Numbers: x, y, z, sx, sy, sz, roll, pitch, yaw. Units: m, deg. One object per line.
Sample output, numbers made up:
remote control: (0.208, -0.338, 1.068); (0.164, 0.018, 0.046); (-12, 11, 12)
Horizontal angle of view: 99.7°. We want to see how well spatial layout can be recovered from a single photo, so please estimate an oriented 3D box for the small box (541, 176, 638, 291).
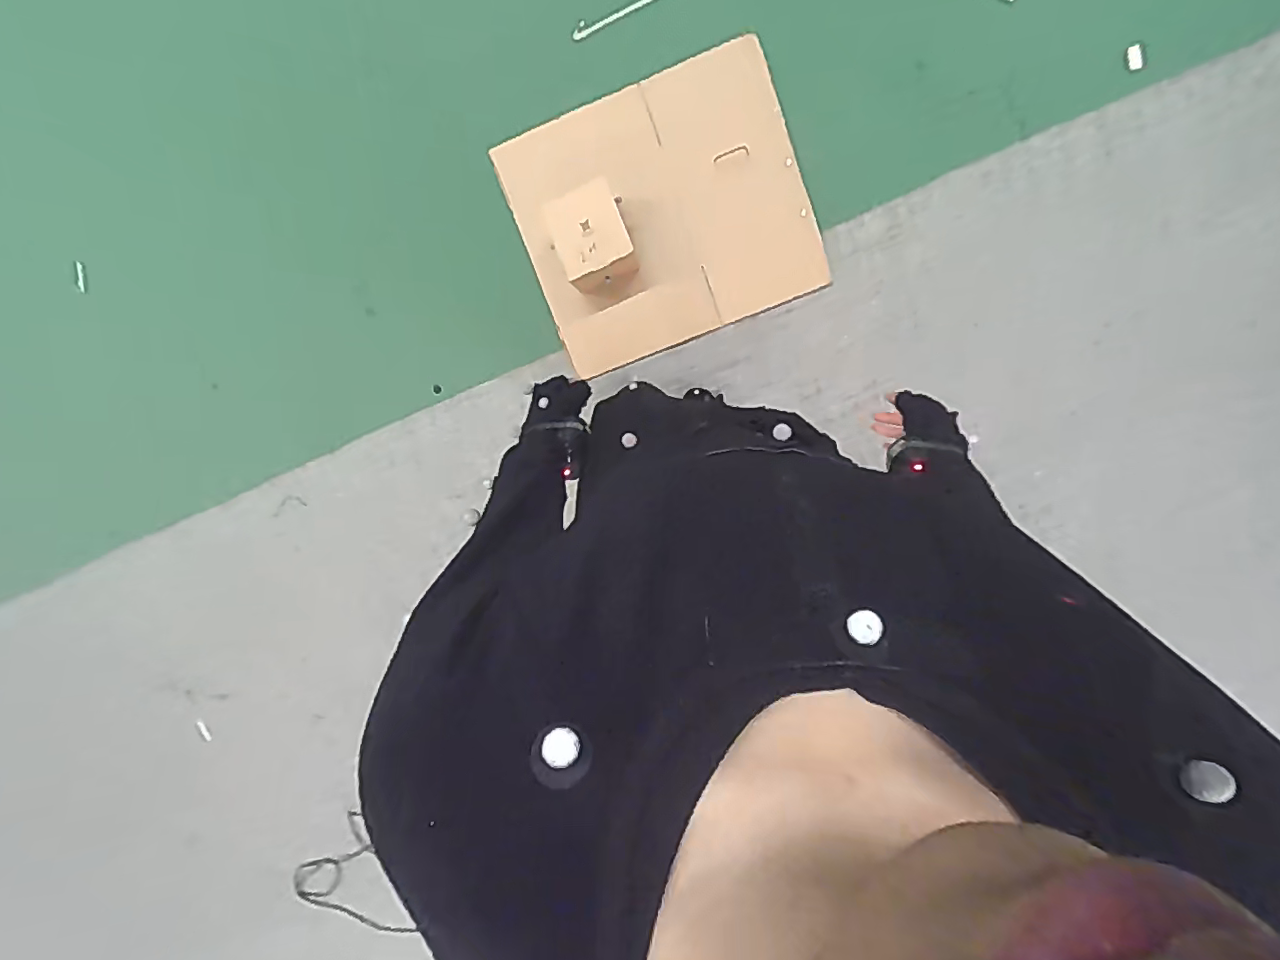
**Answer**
small box: (-0.112, -0.573, 1.281); (0.168, 0.176, 0.179); (-22, 98, 8)
